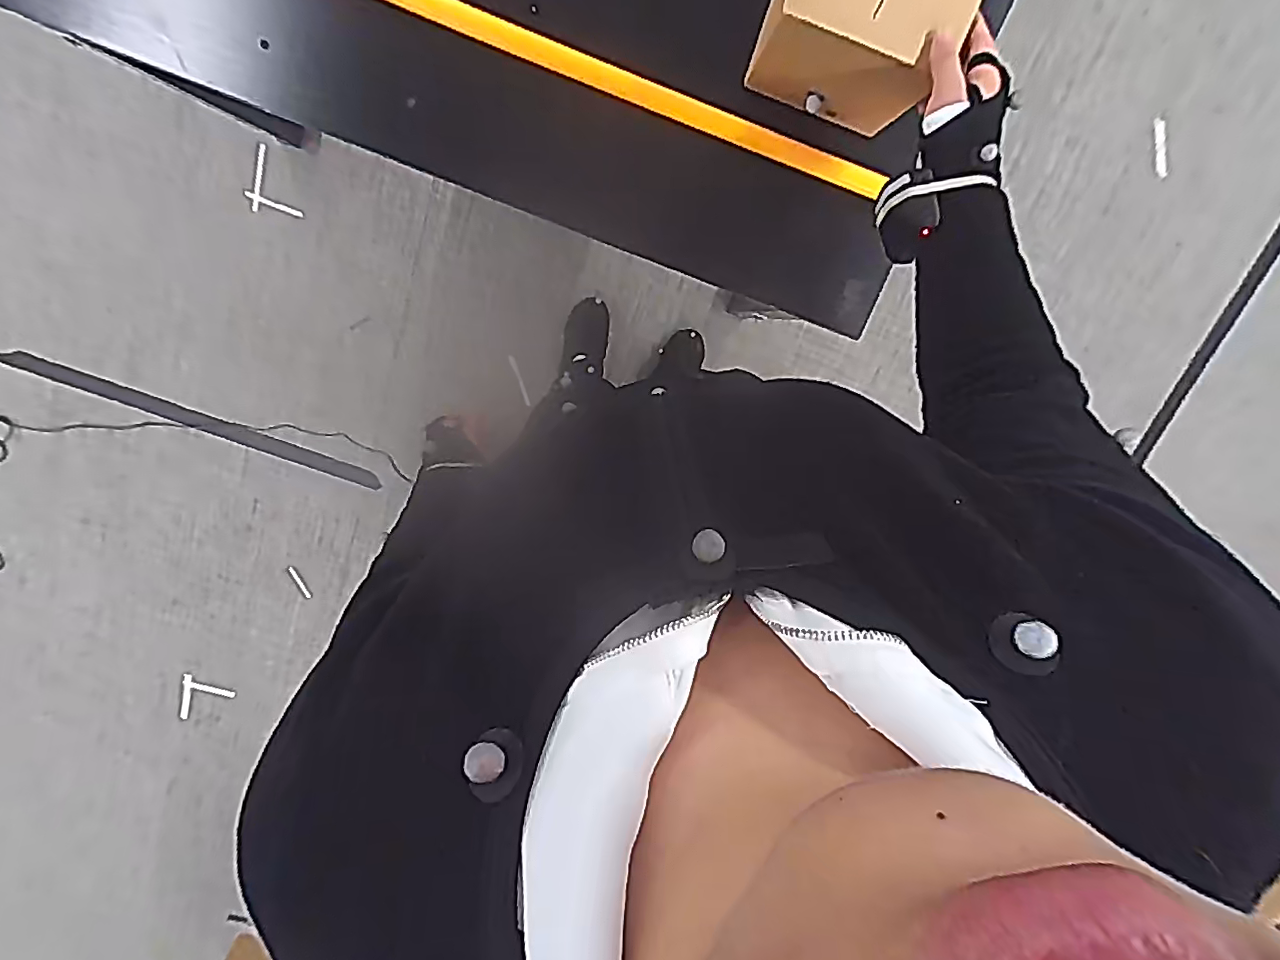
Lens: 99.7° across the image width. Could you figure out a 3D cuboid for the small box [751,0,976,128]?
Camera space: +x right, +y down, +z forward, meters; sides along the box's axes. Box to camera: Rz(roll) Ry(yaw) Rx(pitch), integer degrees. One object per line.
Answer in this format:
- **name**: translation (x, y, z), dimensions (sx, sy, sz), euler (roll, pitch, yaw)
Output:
- **small box**: translation (0.226, -0.494, 0.536), dimensions (0.168, 0.176, 0.179), euler (18, 106, -6)
